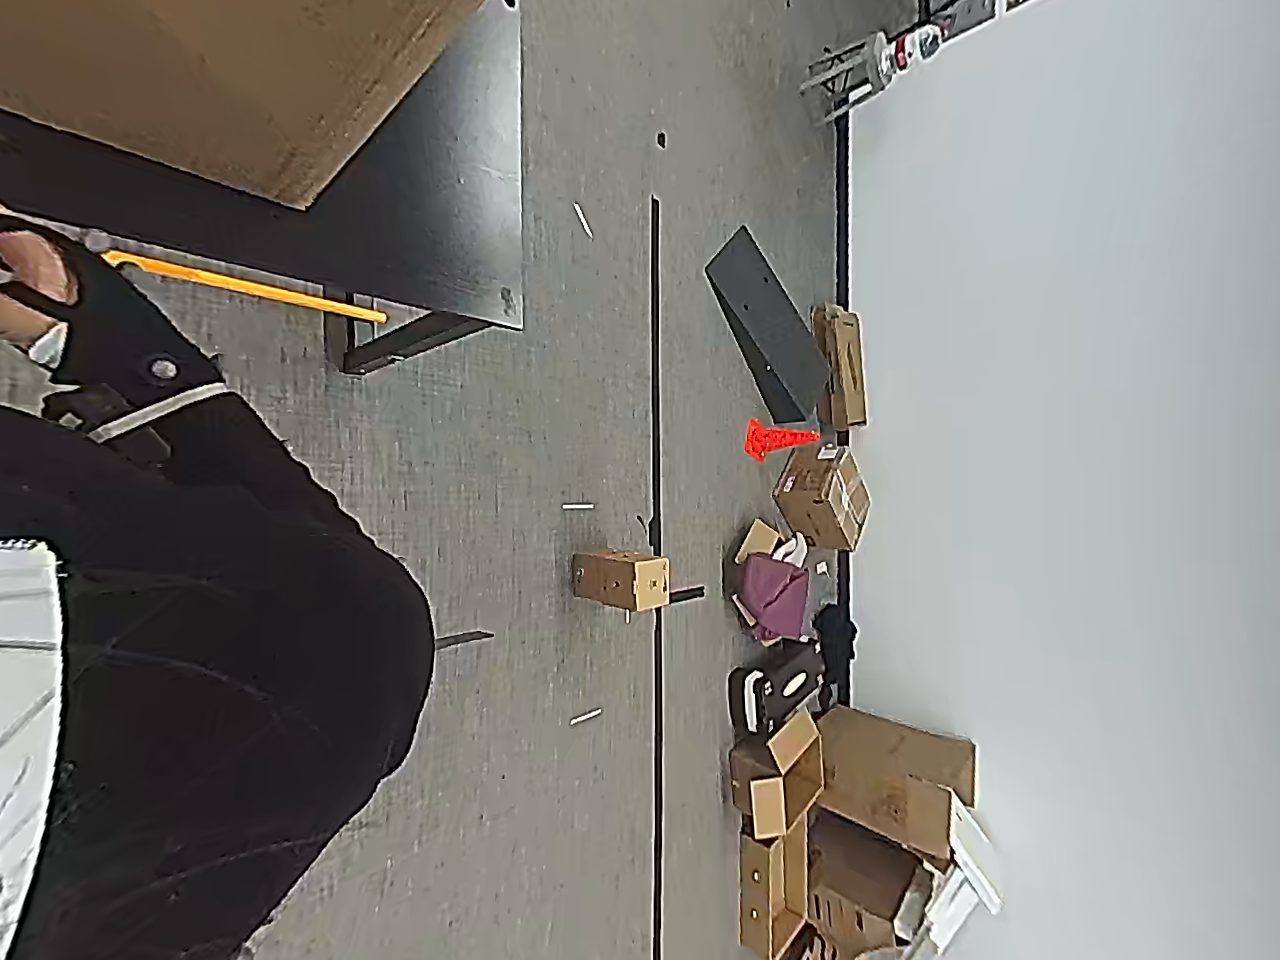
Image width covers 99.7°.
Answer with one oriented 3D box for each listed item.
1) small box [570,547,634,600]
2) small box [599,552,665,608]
[{"bbox_3d":[-0.140,0.344,2.014,0.179,0.176,0.168,-1,90,-46],"label":"small box"},{"bbox_3d":[-0.030,0.346,1.891,0.179,0.176,0.168,1,88,-47],"label":"small box"}]
